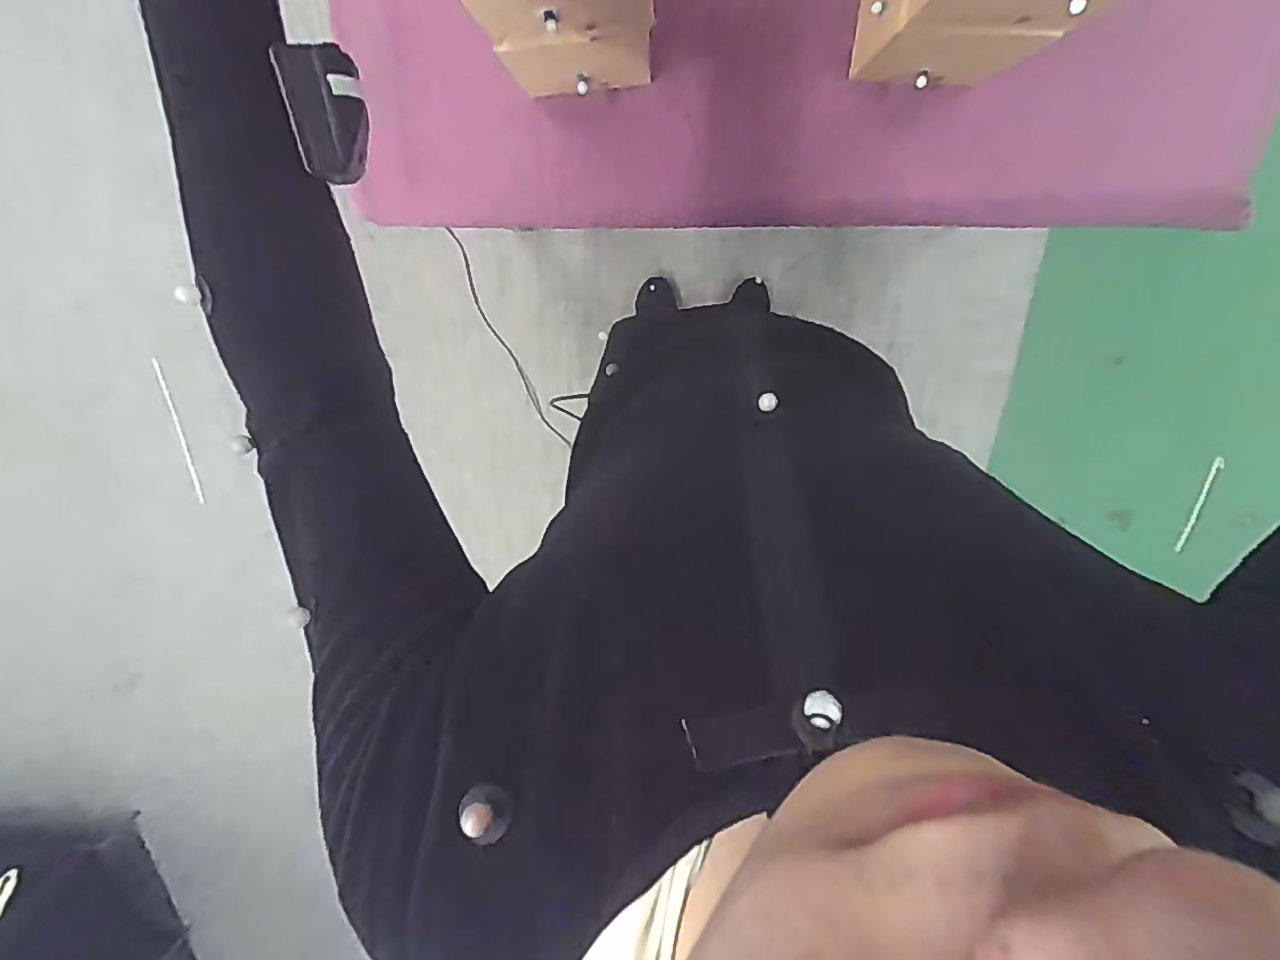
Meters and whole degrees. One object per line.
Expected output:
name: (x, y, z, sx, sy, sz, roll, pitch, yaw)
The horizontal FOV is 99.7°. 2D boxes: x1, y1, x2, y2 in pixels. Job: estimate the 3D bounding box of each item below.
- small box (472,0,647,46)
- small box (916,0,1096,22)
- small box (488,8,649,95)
small box: (-0.085, -0.514, 0.457, 0.168, 0.176, 0.179, -6, 111, 5)
small box: (0.340, -0.503, 0.433, 0.168, 0.176, 0.179, 3, 112, 3)
small box: (-0.078, -0.569, 0.610, 0.168, 0.176, 0.179, -3, 111, 5)
